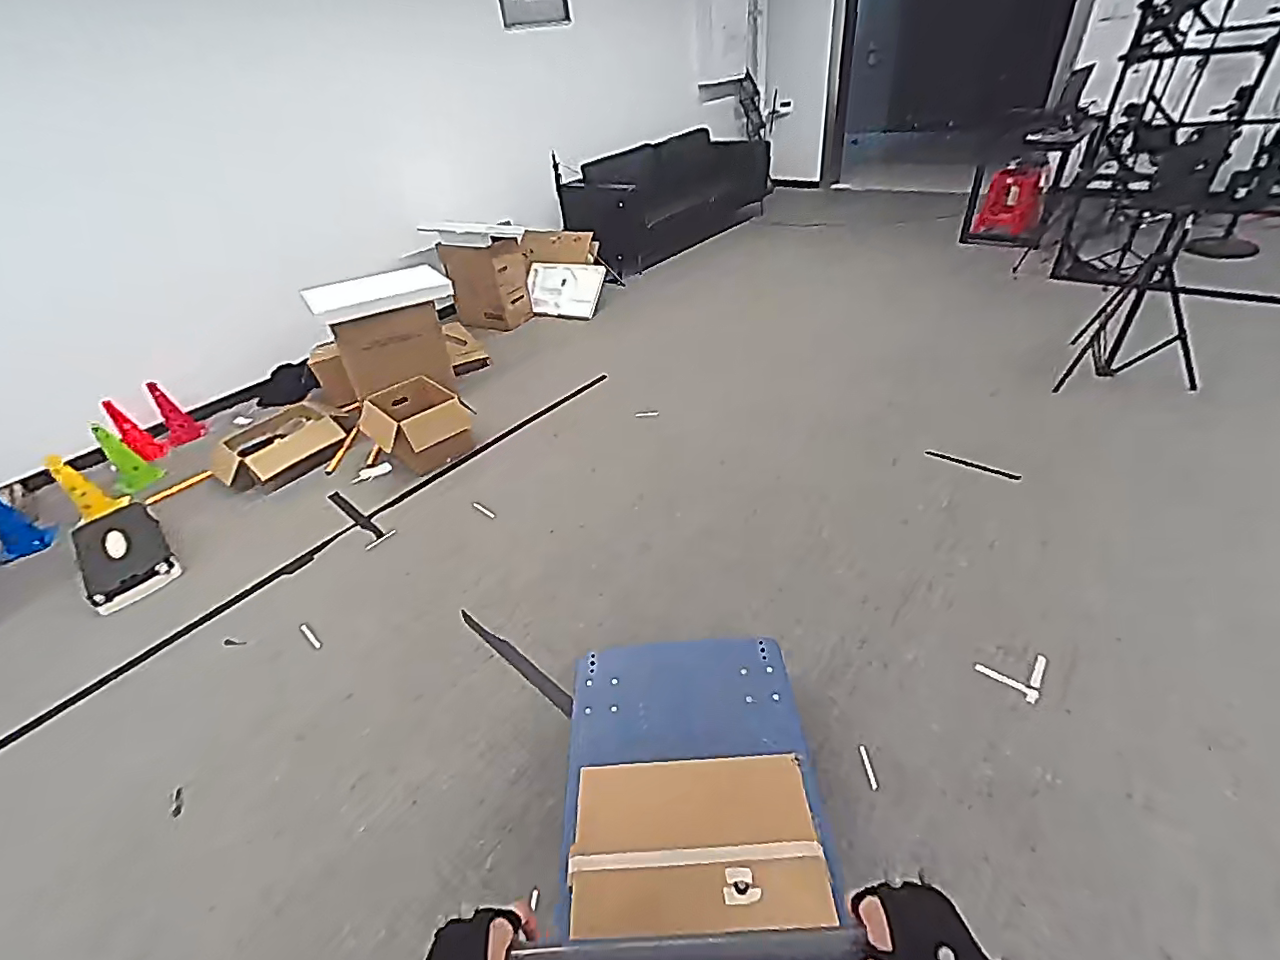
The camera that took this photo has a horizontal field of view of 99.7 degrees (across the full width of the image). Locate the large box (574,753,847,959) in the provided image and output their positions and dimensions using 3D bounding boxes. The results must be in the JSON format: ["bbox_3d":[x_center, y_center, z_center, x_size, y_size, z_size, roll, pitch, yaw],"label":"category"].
[{"bbox_3d":[0.105,0.736,0.978,0.408,0.320,0.320,-5,38,1],"label":"large box"}]
